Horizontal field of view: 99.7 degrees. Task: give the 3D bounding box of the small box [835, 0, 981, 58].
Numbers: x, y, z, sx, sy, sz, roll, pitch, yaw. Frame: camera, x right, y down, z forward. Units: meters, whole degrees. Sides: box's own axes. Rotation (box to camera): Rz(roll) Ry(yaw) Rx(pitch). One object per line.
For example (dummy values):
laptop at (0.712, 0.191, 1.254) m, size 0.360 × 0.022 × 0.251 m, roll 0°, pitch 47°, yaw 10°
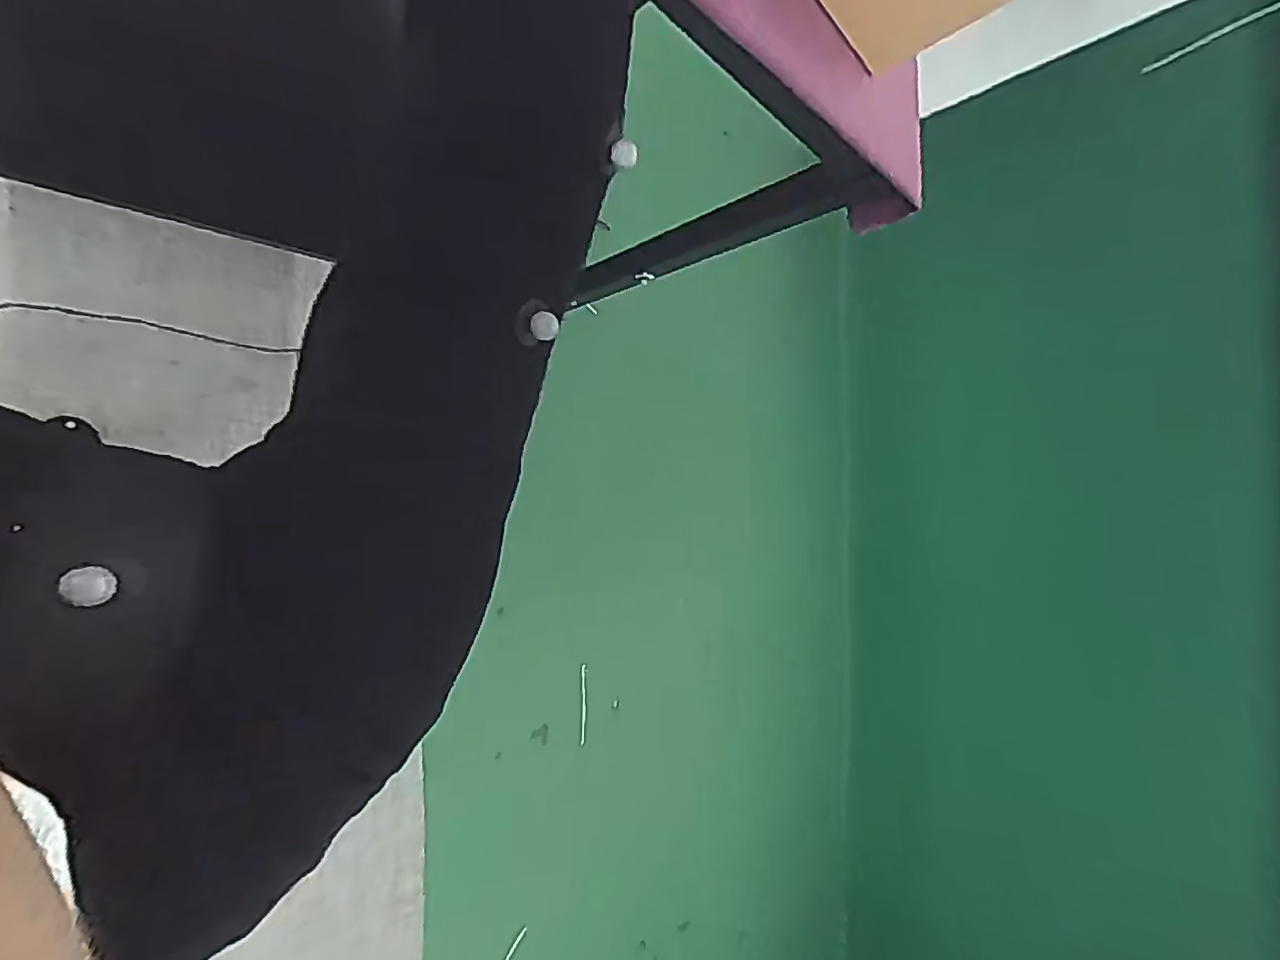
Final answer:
small box at (0.256, -0.533, 0.478) m, size 0.179 × 0.176 × 0.168 m, roll 1°, pitch 88°, yaw -46°
